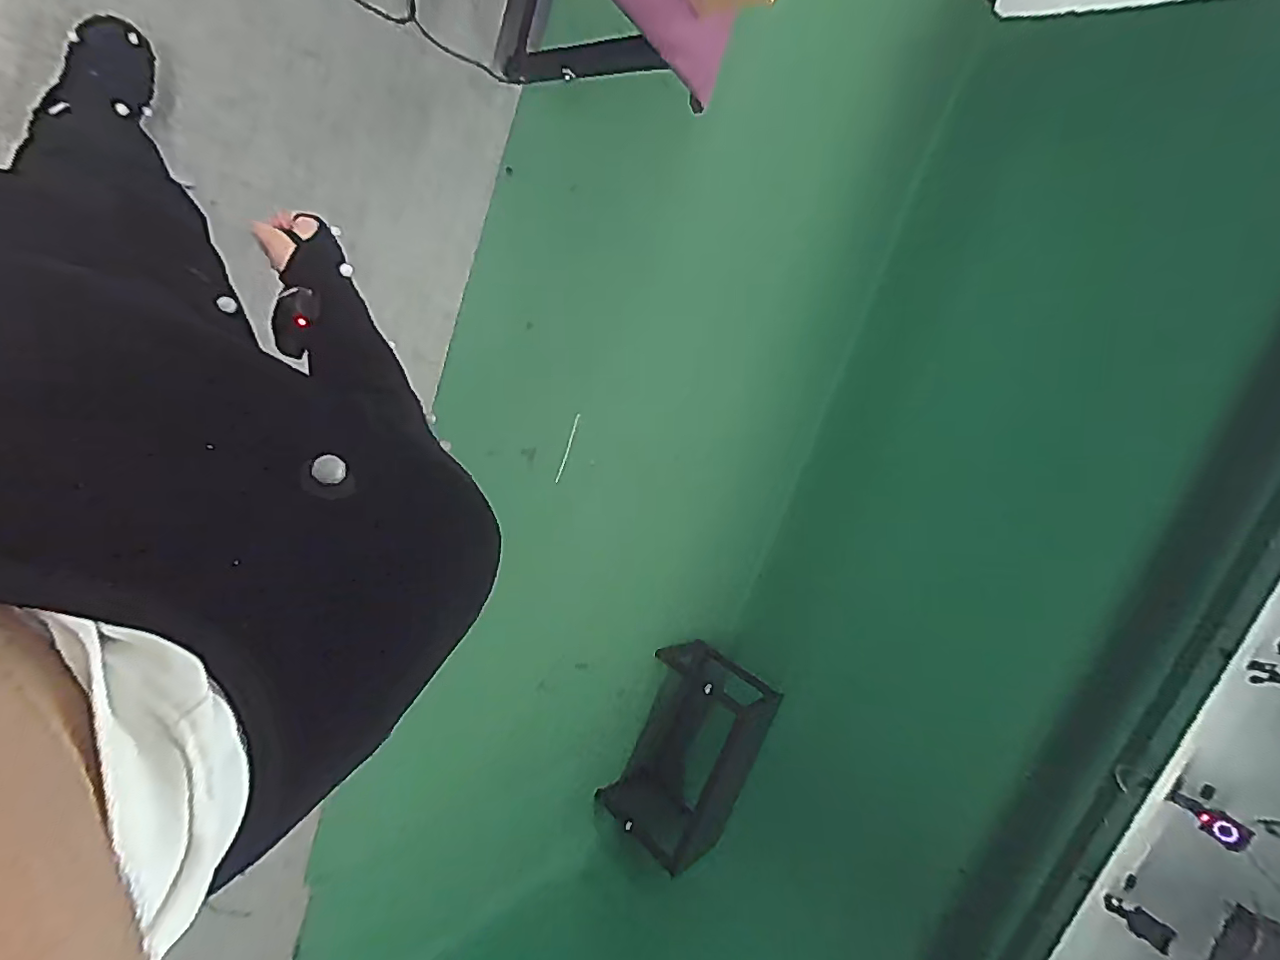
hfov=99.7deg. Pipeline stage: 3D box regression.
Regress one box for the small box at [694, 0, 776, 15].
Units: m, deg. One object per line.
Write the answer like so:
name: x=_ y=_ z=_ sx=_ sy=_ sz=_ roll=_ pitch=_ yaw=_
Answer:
small box: x=0.169 y=-0.986 z=0.966 sx=0.168 sy=0.176 sz=0.179 roll=12 pitch=101 yaw=-53
